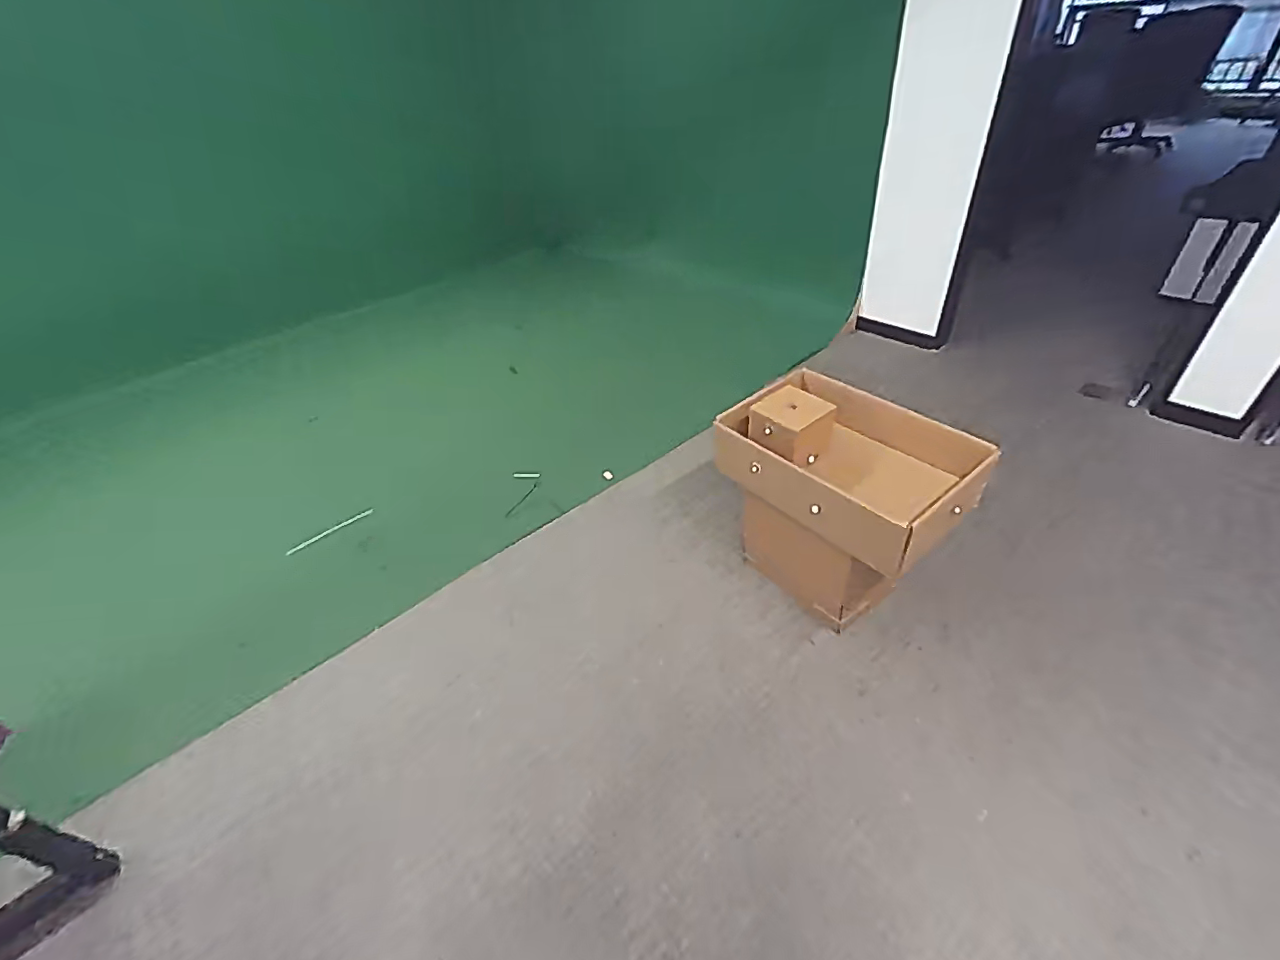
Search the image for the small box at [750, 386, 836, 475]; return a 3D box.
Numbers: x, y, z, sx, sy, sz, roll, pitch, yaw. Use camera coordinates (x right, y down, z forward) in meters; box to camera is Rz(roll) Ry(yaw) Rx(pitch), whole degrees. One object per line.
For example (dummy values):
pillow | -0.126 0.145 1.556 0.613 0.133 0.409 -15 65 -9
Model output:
small box | 0.433 -0.141 1.553 0.168 0.176 0.179 -30 44 -23
